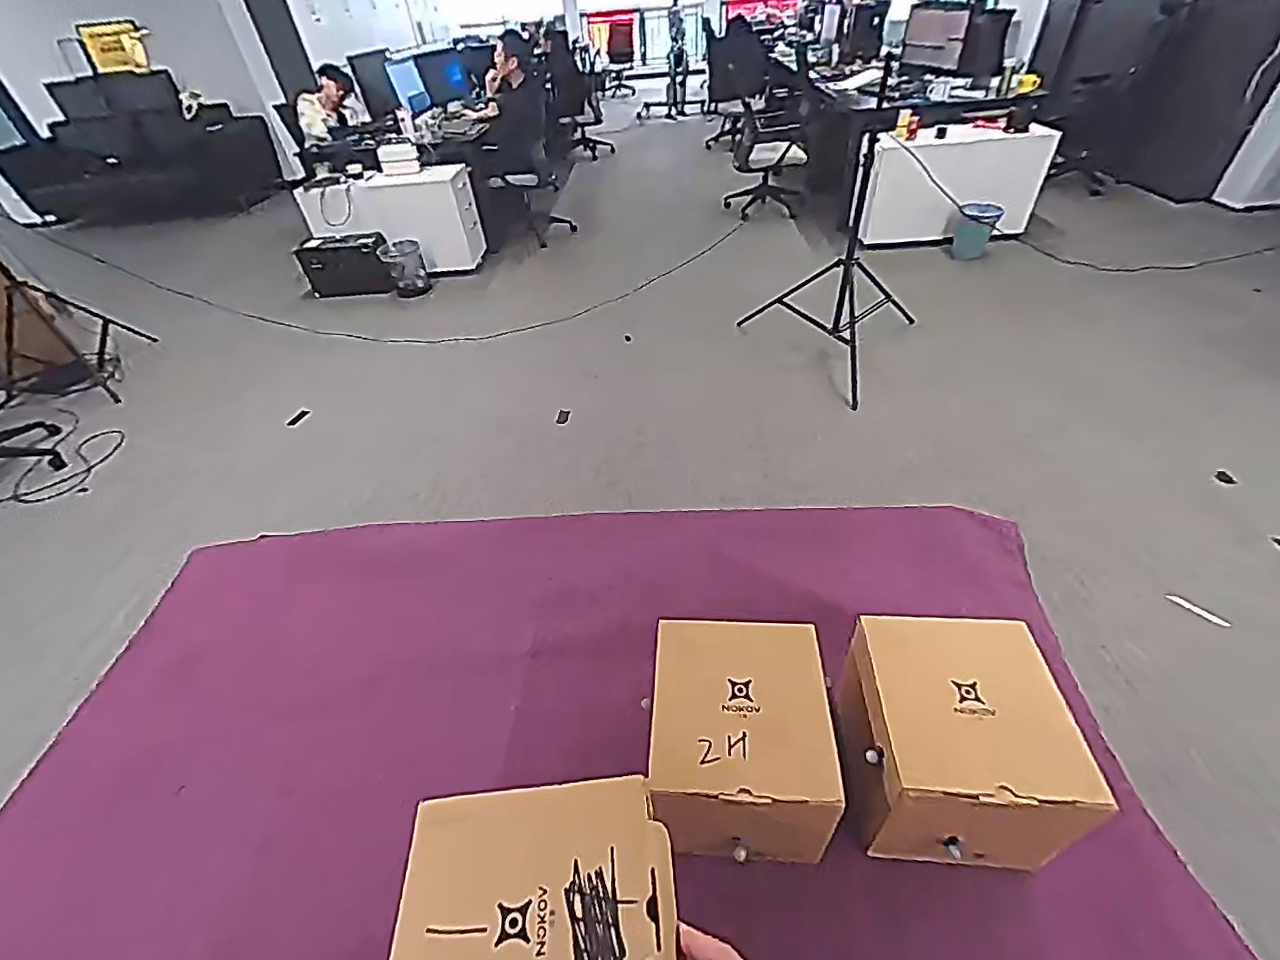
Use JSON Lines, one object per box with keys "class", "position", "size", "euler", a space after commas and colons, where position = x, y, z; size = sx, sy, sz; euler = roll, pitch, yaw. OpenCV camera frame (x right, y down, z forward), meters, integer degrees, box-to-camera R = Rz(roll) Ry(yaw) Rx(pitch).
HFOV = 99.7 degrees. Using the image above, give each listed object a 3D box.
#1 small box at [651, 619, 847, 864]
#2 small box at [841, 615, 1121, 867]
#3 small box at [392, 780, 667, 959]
{"class": "small box", "position": [0.103, 0.269, 0.566], "size": [0.168, 0.176, 0.179], "euler": [0, 41, 7]}
{"class": "small box", "position": [0.313, 0.260, 0.550], "size": [0.168, 0.176, 0.179], "euler": [-1, 41, 7]}
{"class": "small box", "position": [-0.069, 0.349, 0.407], "size": [0.179, 0.176, 0.168], "euler": [-6, 42, -1]}
